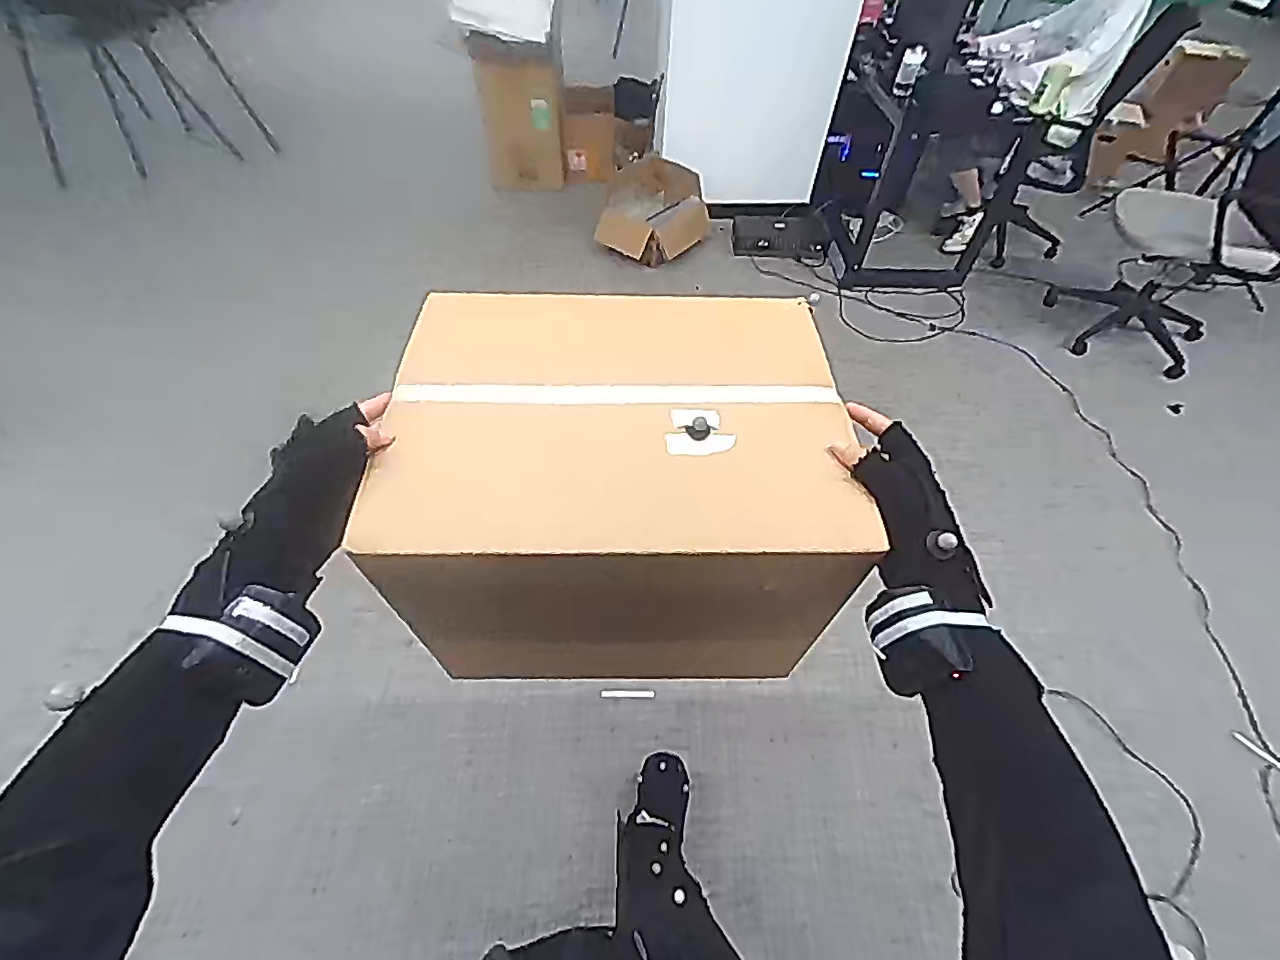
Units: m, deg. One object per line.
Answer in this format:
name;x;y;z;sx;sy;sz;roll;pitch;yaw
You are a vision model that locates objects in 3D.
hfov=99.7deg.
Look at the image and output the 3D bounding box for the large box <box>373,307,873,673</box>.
large box;-0.020;0.021;0.629;0.408;0.320;0.320;1;54;-2
